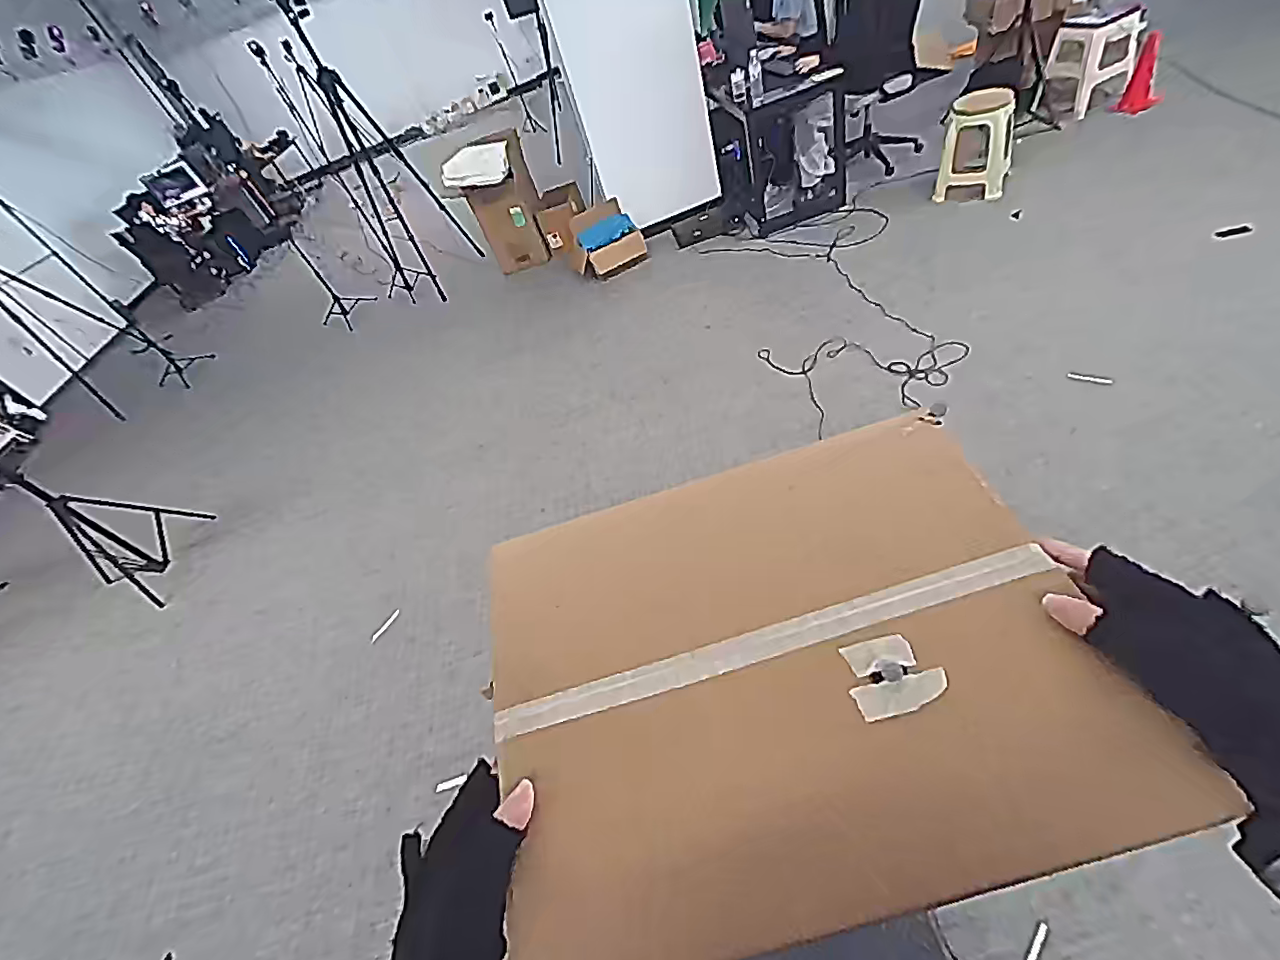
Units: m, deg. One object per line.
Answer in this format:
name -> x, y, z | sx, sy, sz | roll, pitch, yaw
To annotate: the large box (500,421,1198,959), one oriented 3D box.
large box -> 0.124, 0.210, 0.514 | 0.408, 0.320, 0.320 | -18, 52, 2
